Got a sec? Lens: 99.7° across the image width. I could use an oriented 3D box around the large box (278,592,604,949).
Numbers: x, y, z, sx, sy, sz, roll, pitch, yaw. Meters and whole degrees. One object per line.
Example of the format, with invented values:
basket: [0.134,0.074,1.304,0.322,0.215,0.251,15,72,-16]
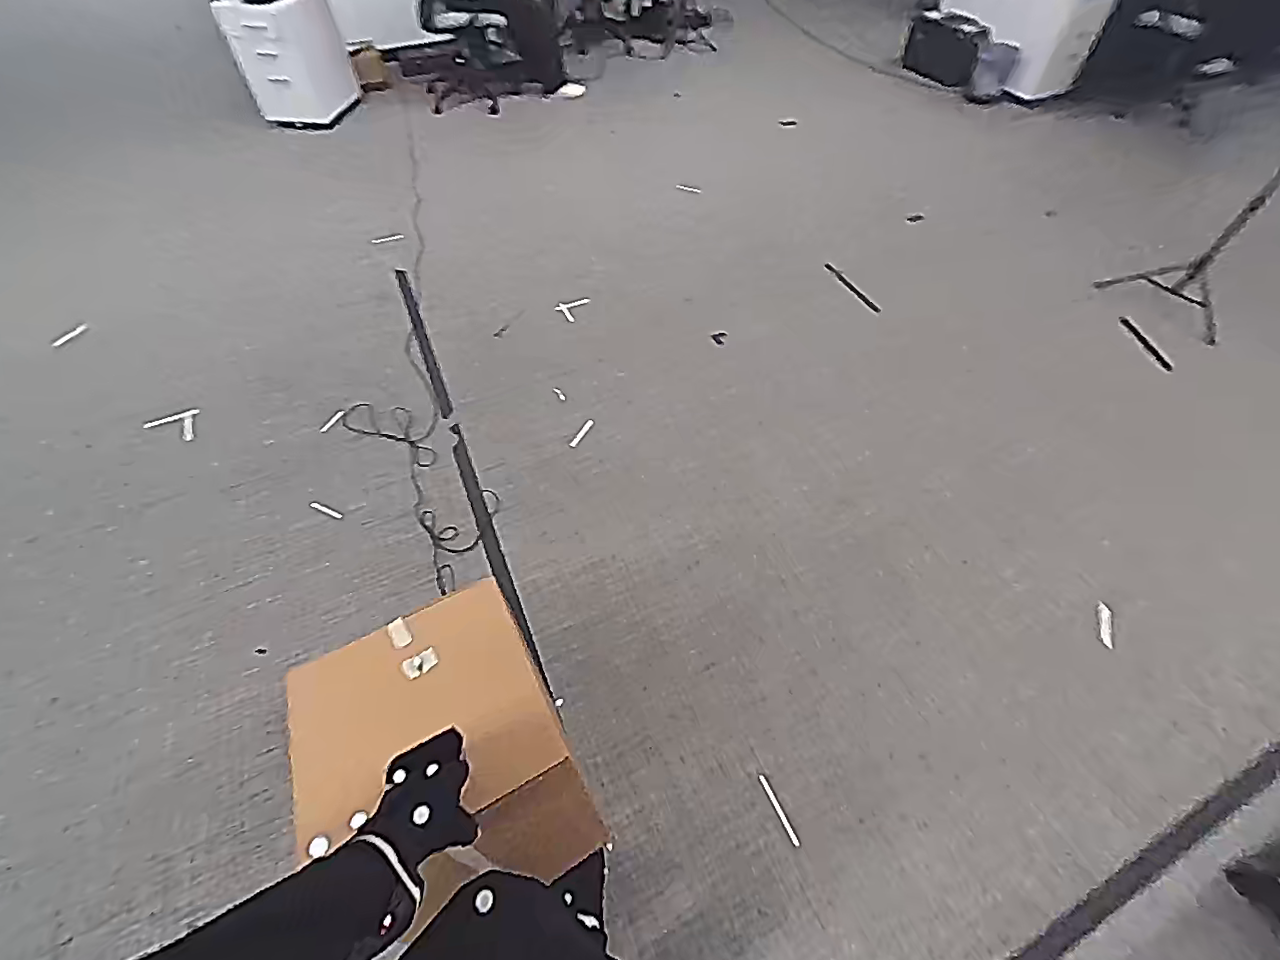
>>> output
large box: [-0.290,0.454,0.853,0.320,0.408,0.320,-26,48,-16]
